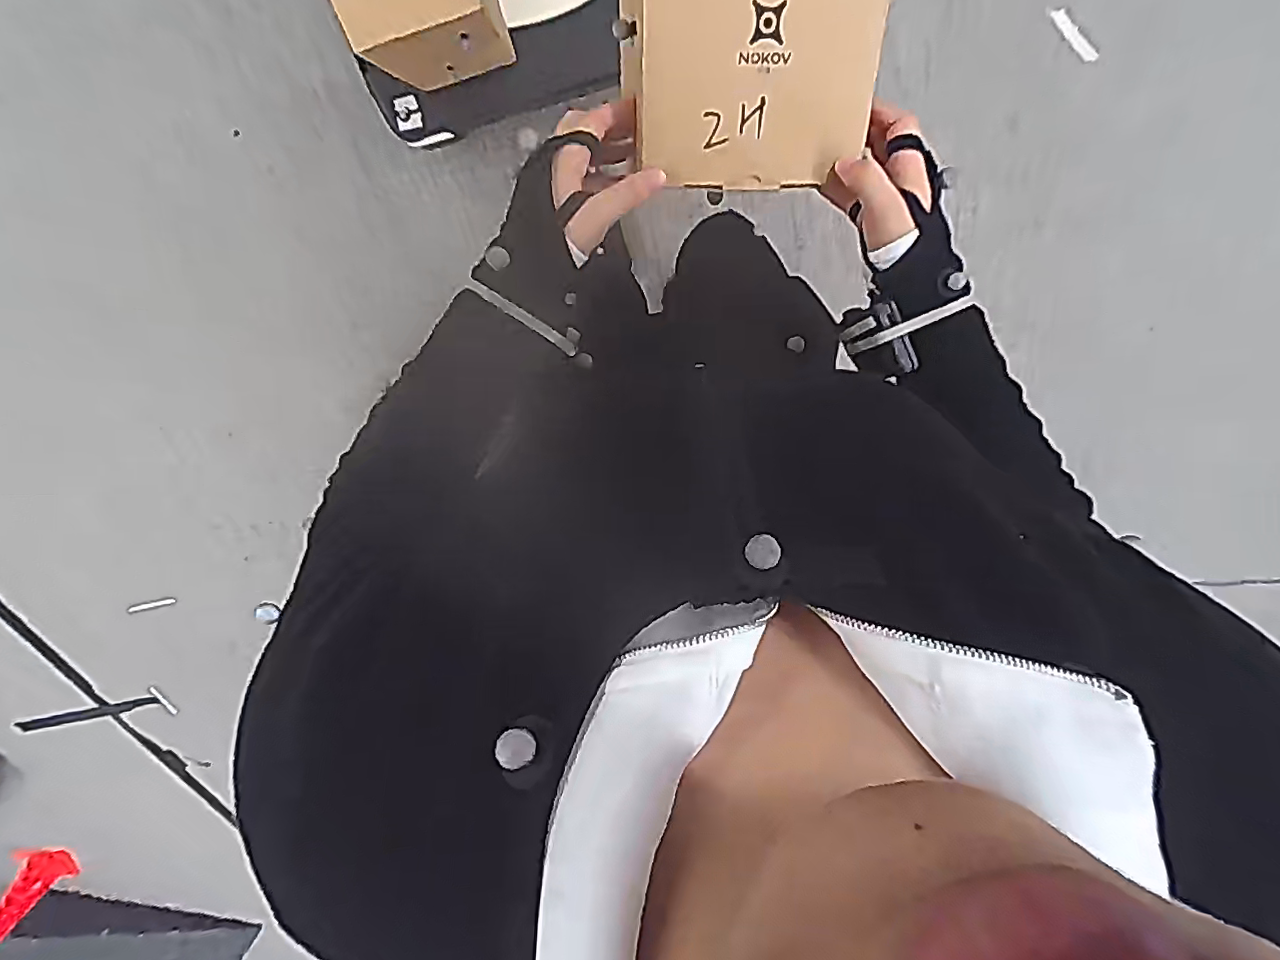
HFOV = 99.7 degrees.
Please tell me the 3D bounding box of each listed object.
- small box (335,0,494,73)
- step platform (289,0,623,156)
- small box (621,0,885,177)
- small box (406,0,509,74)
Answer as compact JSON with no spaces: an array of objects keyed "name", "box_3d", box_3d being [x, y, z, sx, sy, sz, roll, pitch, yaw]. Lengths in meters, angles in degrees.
[{"name":"small box","box_3d":[-0.305,-0.671,0.712,0.179,0.176,0.168,-17,118,4]},{"name":"step platform","box_3d":[-0.153,-0.743,0.831,0.684,0.204,0.286,-14,119,3]},{"name":"small box","box_3d":[0.073,-0.342,0.428,0.168,0.176,0.179,-3,120,-5]},{"name":"small box","box_3d":[-0.318,-0.751,0.854,0.179,0.176,0.168,-16,119,4]}]
